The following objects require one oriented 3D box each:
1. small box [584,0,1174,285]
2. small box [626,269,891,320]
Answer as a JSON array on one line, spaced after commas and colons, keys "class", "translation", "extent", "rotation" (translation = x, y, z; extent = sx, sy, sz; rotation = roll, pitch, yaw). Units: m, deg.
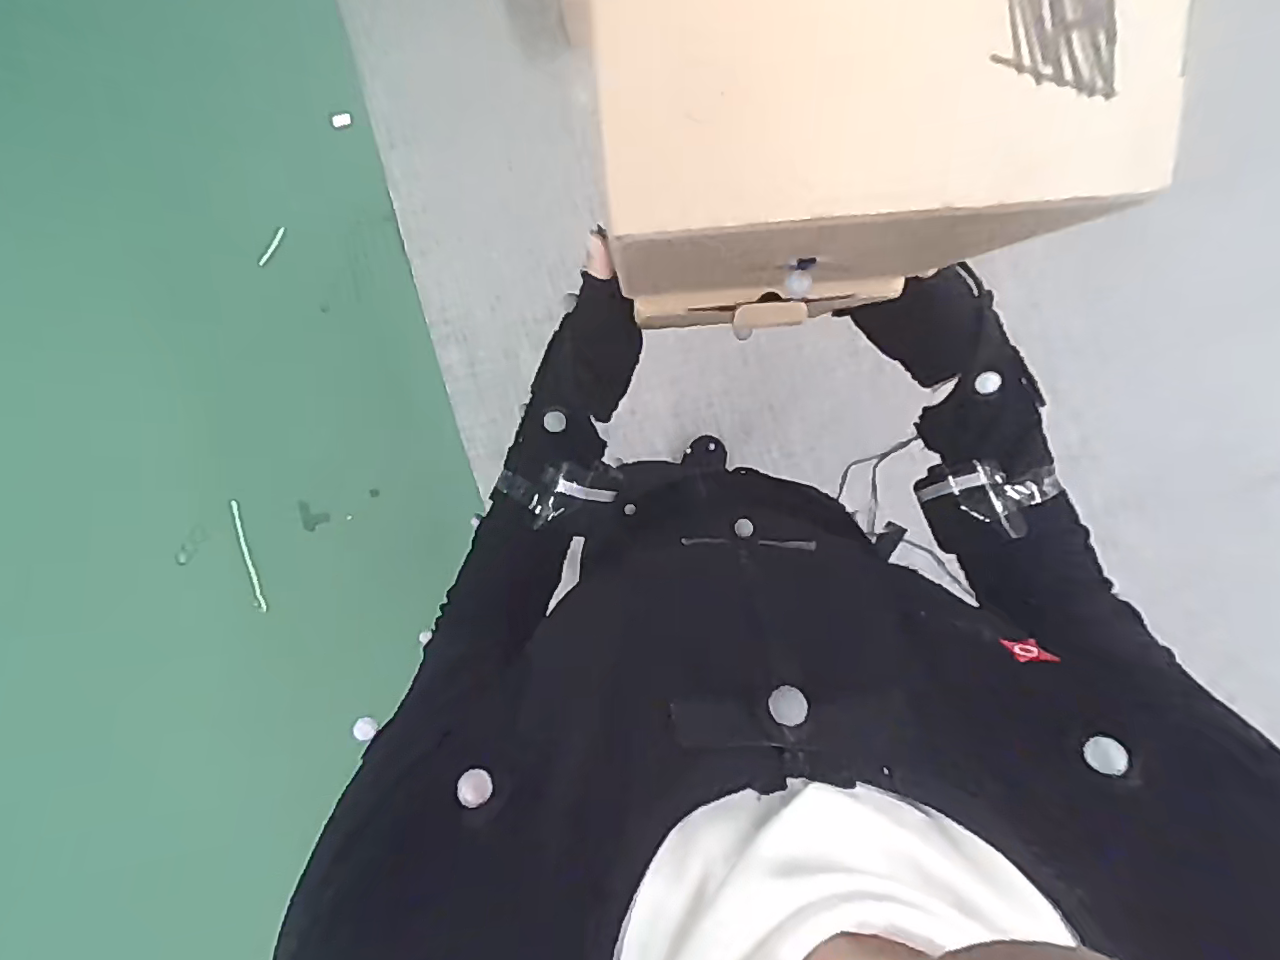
[{"class": "small box", "translation": [0.070, -0.183, 0.232], "extent": [0.179, 0.176, 0.168], "rotation": [-2, 102, 2]}, {"class": "small box", "translation": [0.071, -0.211, 0.395], "extent": [0.168, 0.176, 0.179], "rotation": [-3, 103, 1]}]
